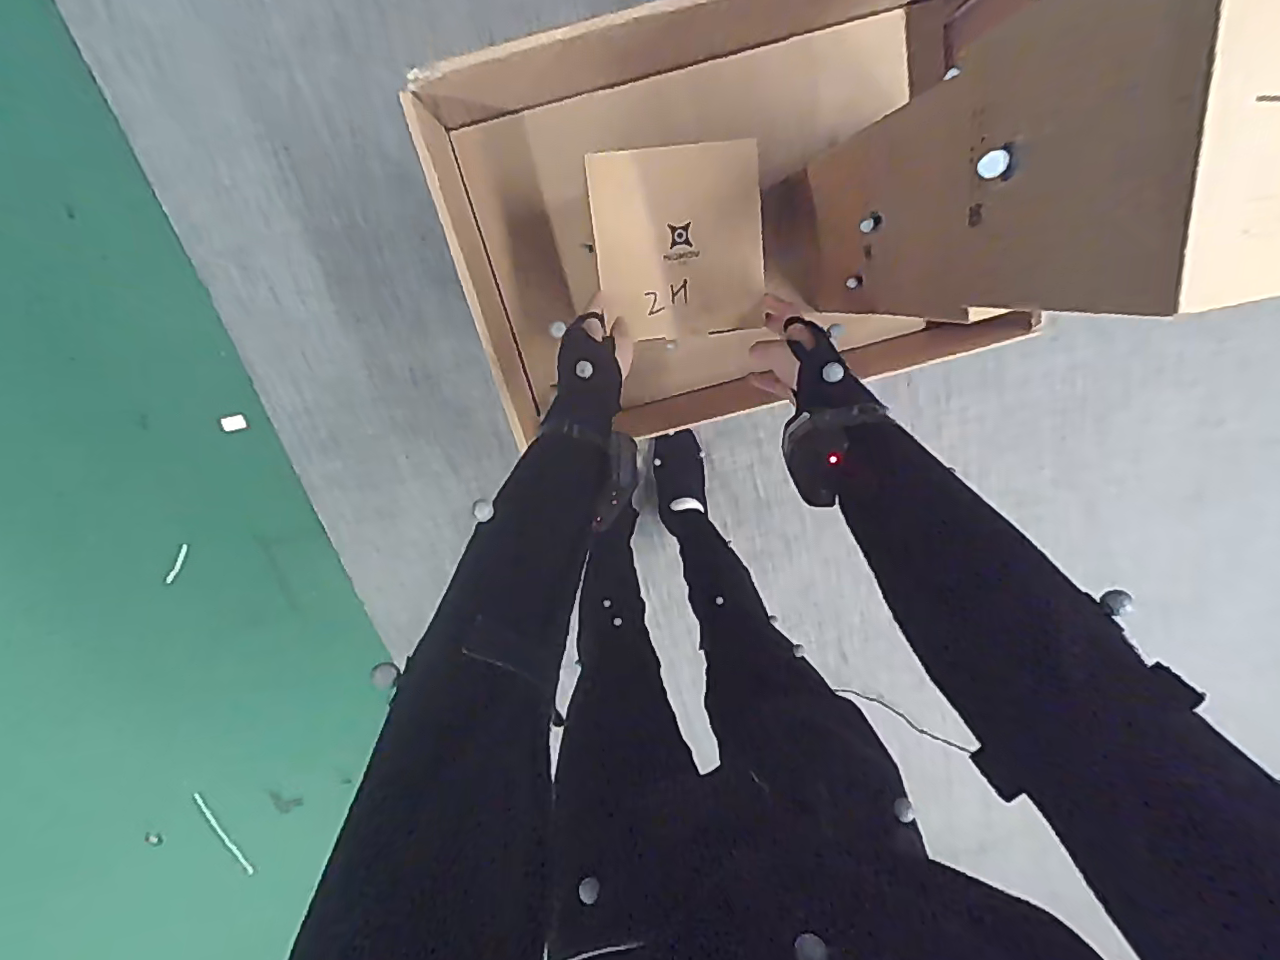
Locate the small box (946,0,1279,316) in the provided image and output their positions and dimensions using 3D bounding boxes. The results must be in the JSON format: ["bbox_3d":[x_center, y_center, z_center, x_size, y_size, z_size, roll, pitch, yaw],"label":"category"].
[{"bbox_3d":[0.307,-0.194,0.302,0.179,0.176,0.168,-11,109,1],"label":"small box"}]
